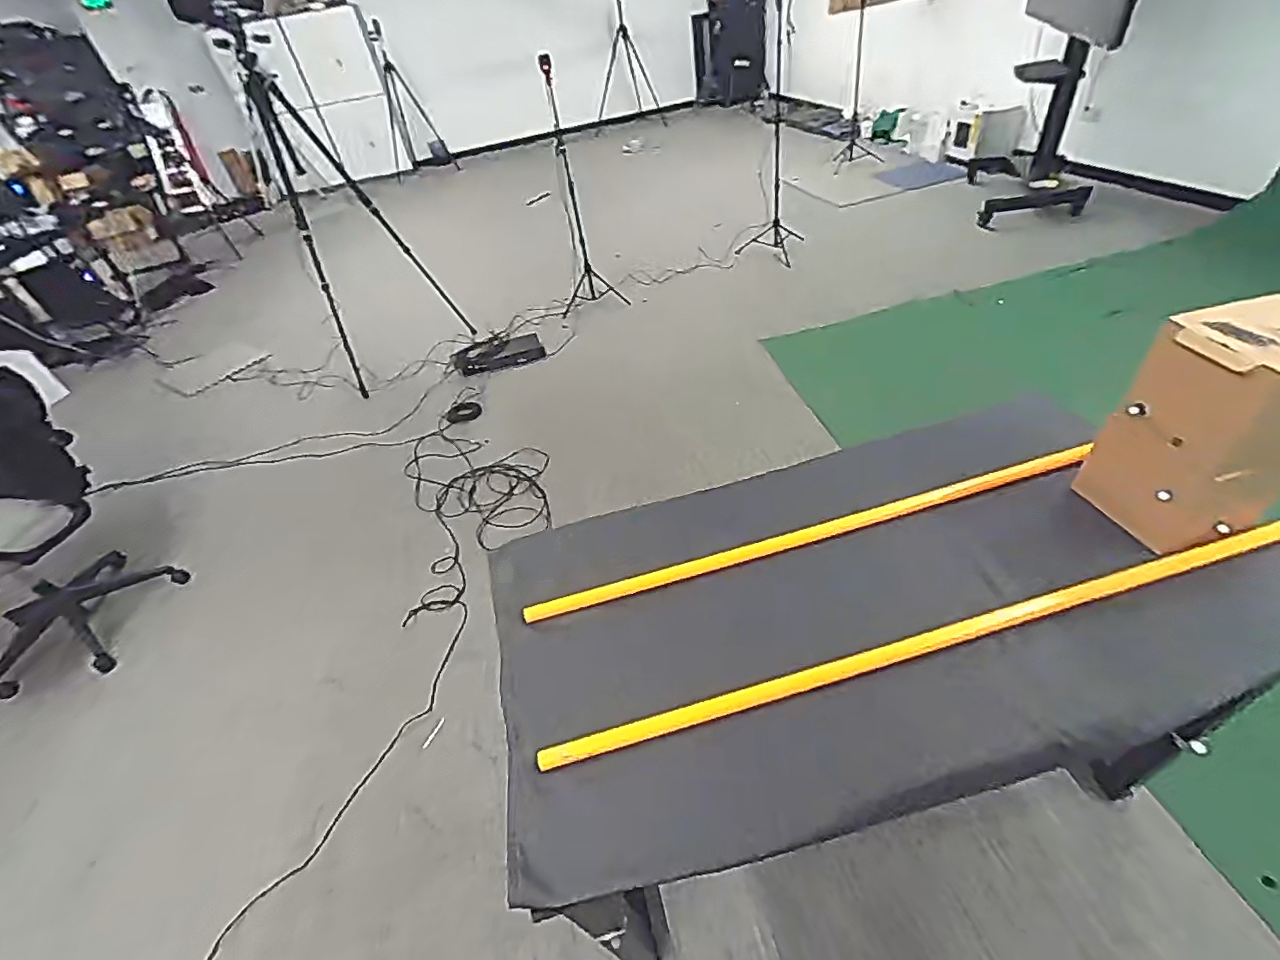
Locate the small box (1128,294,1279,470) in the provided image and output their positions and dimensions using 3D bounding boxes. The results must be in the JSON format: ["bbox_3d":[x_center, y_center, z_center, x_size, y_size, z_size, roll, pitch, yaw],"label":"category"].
[{"bbox_3d":[0.846,-0.134,0.758,0.179,0.176,0.168,-12,43,-1],"label":"small box"}]
